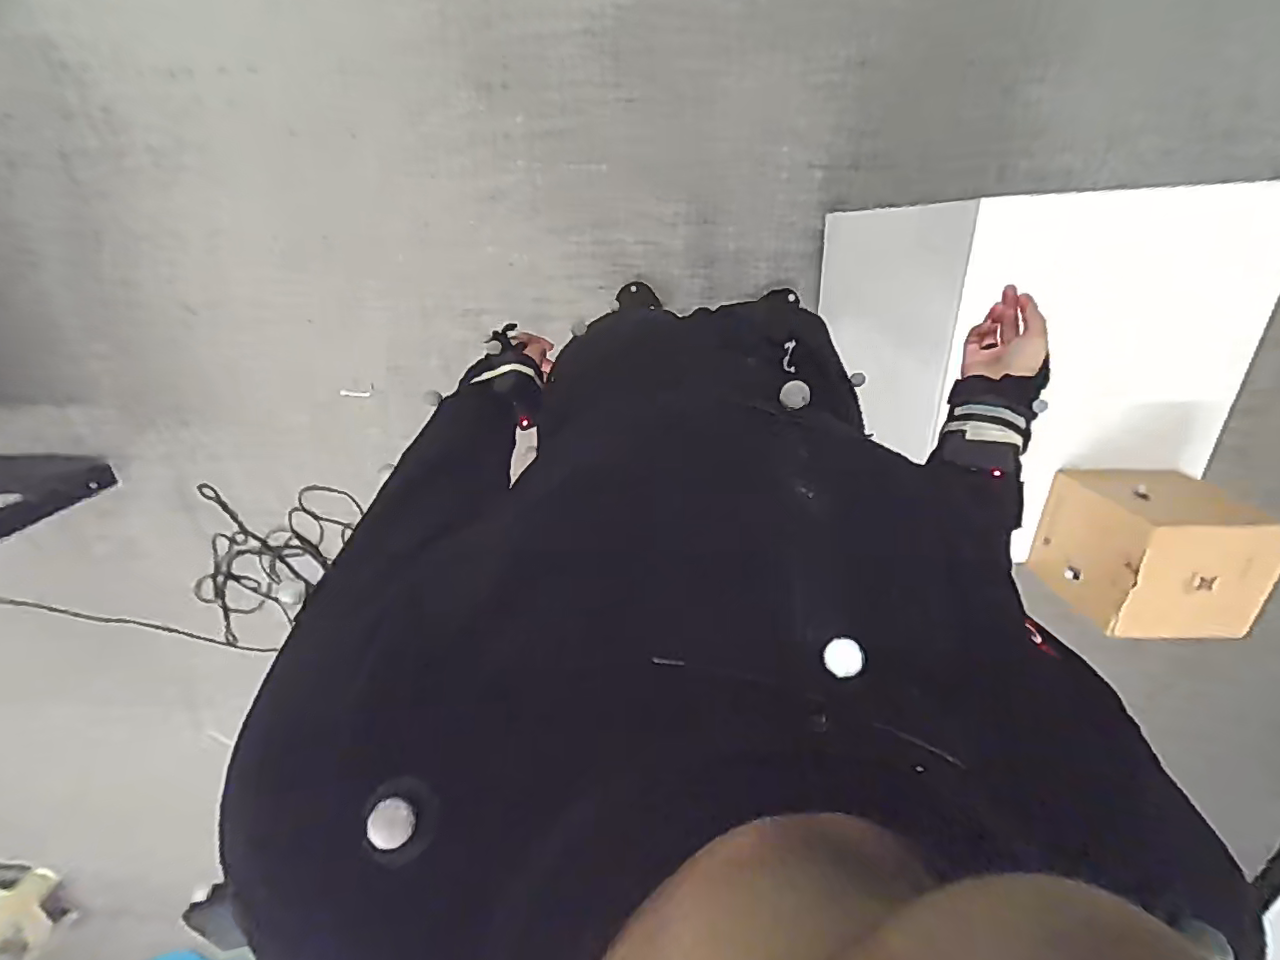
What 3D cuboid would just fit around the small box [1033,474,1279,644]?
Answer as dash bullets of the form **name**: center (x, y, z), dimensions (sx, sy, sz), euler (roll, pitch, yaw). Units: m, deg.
- **small box**: center (0.678, 0.098, 0.722), dimensions (0.179, 0.176, 0.168), euler (-1, 114, 0)
